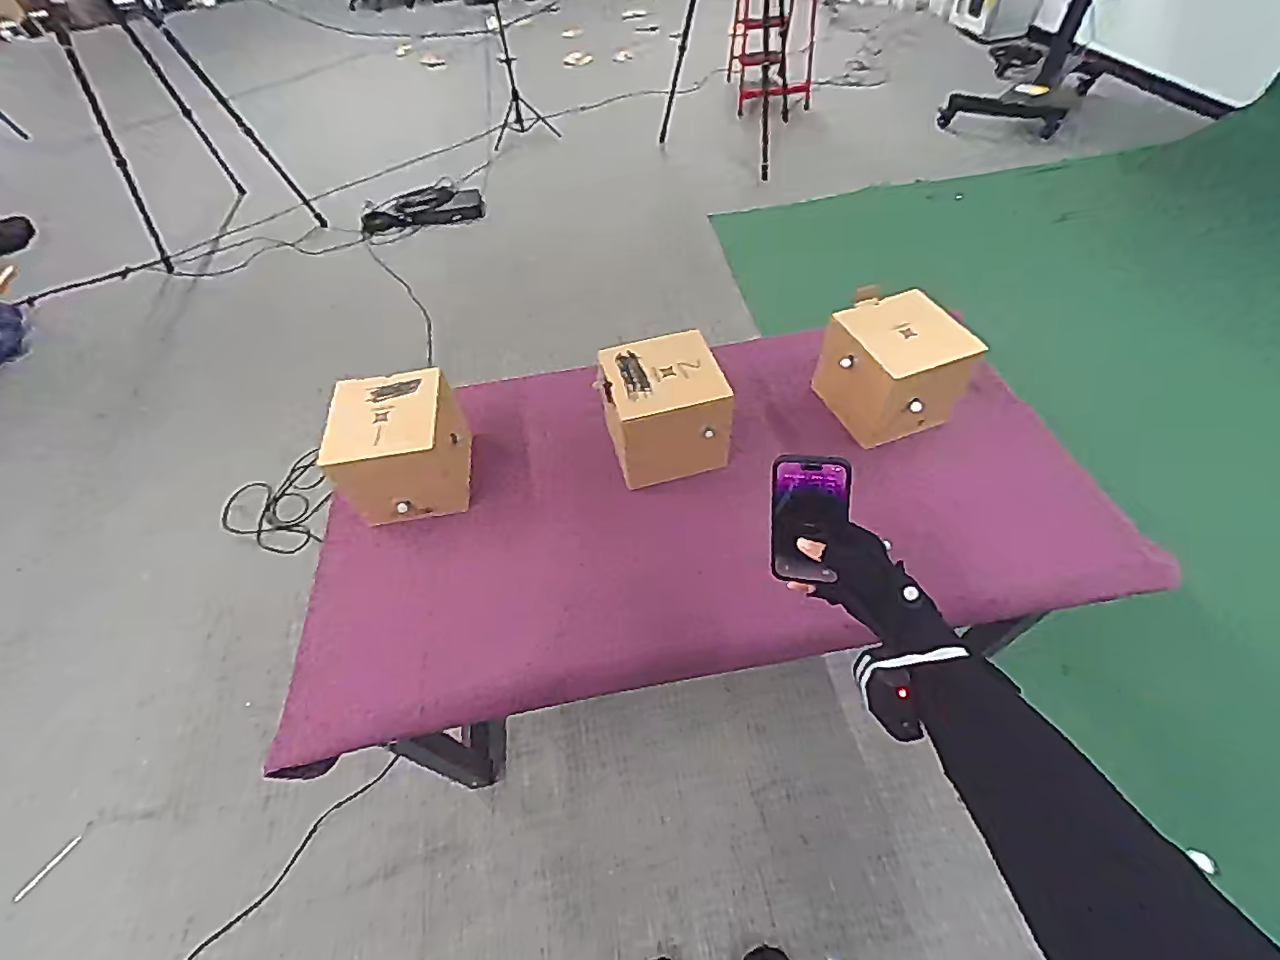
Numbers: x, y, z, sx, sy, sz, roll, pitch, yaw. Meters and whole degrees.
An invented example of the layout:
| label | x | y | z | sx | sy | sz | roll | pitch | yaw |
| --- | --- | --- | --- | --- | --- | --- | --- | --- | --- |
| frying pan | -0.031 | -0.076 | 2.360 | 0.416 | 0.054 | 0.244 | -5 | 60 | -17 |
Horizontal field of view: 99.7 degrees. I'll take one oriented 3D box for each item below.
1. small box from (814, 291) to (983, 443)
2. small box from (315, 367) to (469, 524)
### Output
| label | x | y | z | sx | sy | sz | roll | pitch | yaw |
| --- | --- | --- | --- | --- | --- | --- | --- | --- | --- |
| small box | 0.420 | -0.183 | 0.913 | 0.168 | 0.176 | 0.179 | -18 | 53 | -9 |
| small box | -0.383 | -0.053 | 0.871 | 0.168 | 0.176 | 0.179 | -9 | 54 | -3 |
